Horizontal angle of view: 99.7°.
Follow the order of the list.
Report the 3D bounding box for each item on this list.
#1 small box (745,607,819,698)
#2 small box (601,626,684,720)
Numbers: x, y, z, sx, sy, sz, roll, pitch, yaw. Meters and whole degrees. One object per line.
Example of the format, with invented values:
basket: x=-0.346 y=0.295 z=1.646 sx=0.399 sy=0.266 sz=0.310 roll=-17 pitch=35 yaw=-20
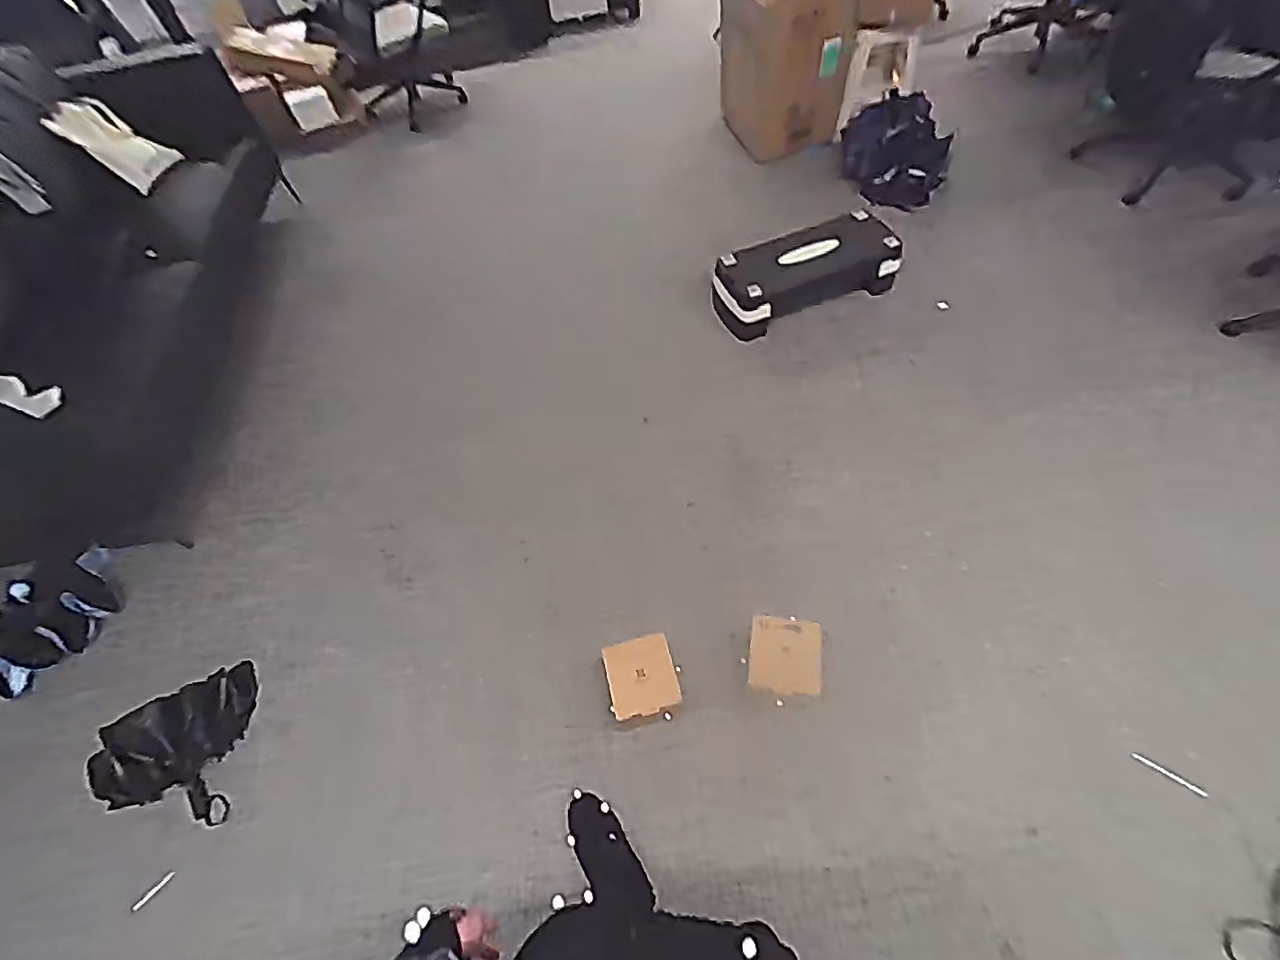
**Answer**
small box: x=0.354 y=0.439 z=1.361 sx=0.168 sy=0.176 sz=0.179 roll=5 pitch=60 yaw=11
small box: x=0.010 y=0.497 z=1.375 sx=0.168 sy=0.176 sz=0.179 roll=-16 pitch=57 yaw=-4
